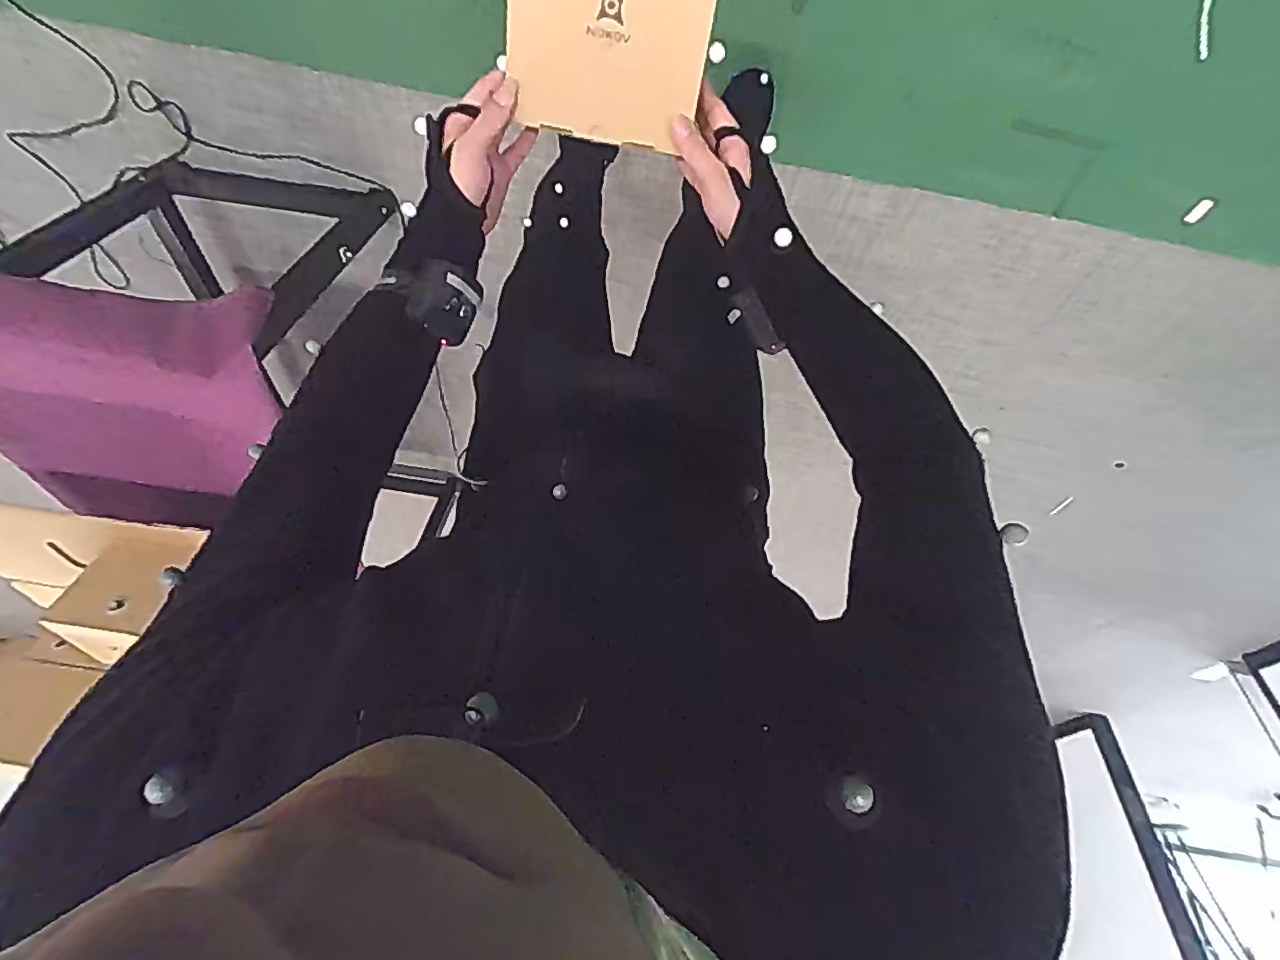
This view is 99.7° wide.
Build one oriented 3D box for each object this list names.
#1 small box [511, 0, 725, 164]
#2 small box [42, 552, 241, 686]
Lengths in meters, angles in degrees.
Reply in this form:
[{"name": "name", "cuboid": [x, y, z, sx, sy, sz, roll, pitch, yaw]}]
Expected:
[{"name": "small box", "cuboid": [-0.018, -0.415, 0.499, 0.168, 0.176, 0.179, 8, 126, -5]}, {"name": "small box", "cuboid": [-0.866, 0.247, 0.970, 0.179, 0.176, 0.168, 8, 137, 1]}]
